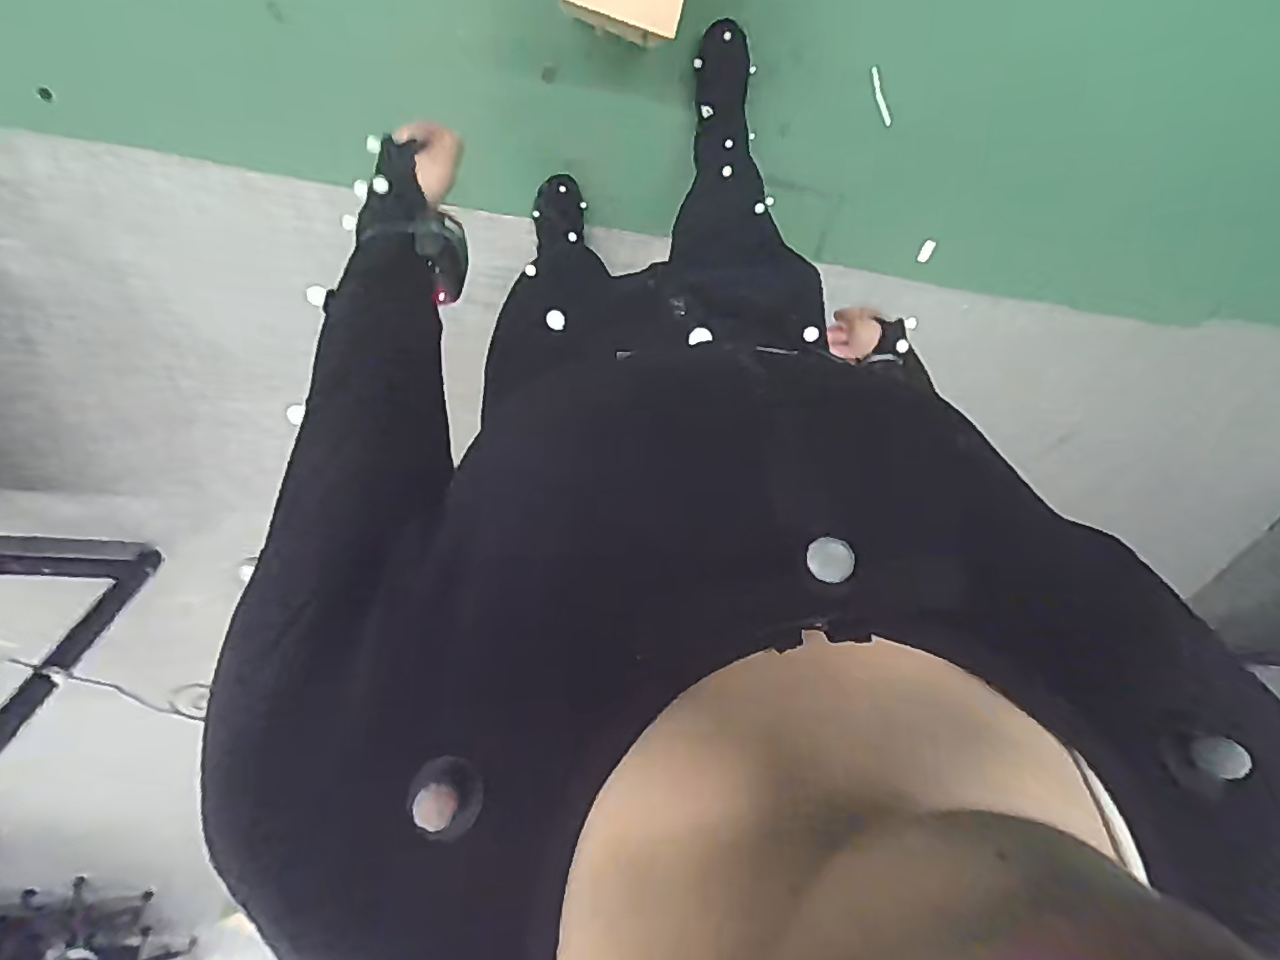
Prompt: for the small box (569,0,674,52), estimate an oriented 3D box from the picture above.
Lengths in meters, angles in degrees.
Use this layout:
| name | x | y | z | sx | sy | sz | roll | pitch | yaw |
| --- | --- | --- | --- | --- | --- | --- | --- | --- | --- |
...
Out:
| name | x | y | z | sx | sy | sz | roll | pitch | yaw |
| --- | --- | --- | --- | --- | --- | --- | --- | --- | --- |
| small box | -0.021 | -0.876 | 0.938 | 0.168 | 0.176 | 0.179 | 11 | 125 | -15 |
